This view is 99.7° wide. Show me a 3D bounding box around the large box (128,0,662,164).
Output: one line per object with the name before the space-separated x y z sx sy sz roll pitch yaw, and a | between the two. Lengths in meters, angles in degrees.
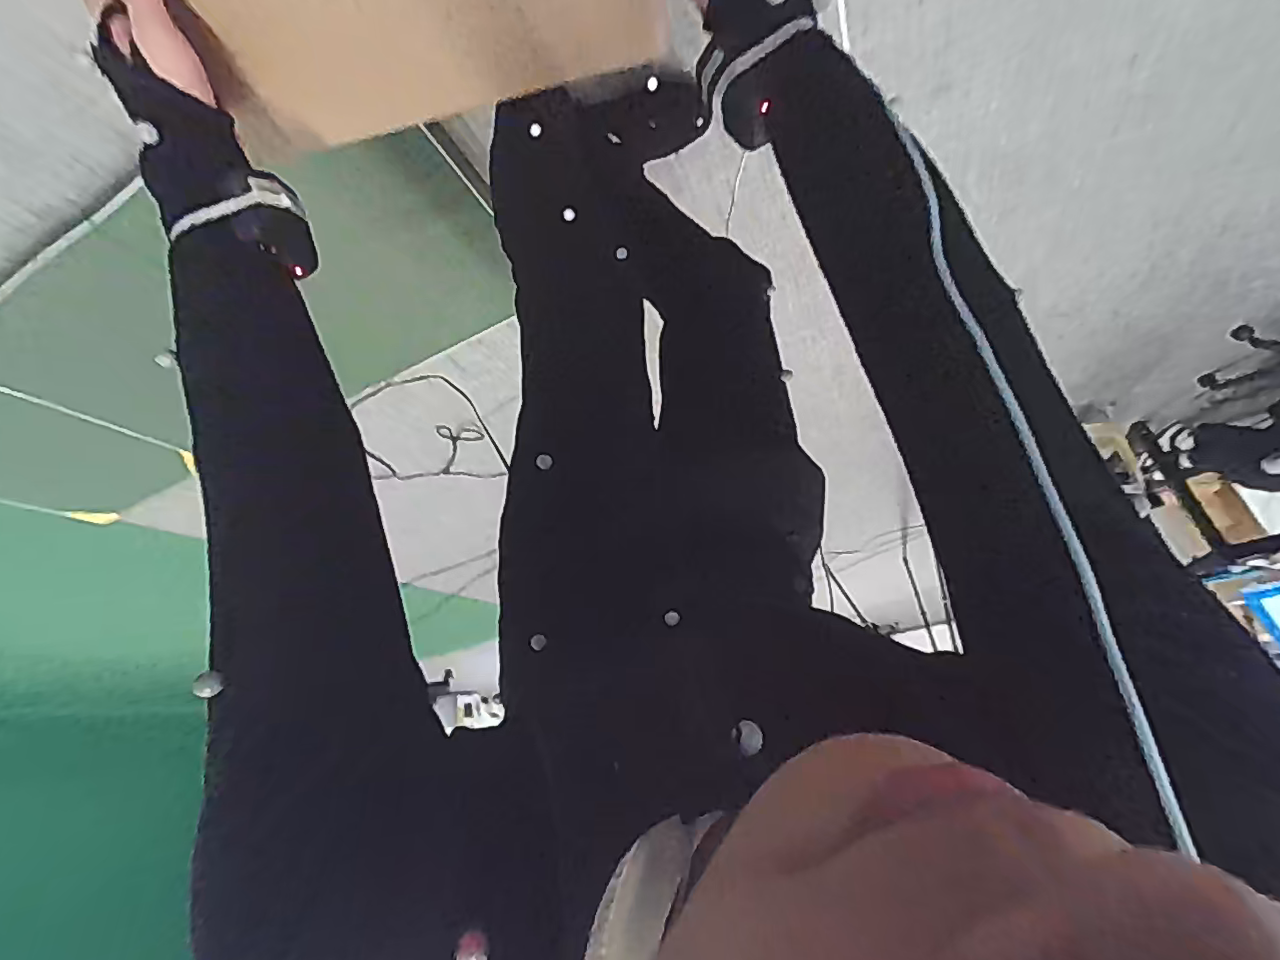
large box | -0.222 -0.545 0.445 0.408 0.320 0.320 -12 151 6
